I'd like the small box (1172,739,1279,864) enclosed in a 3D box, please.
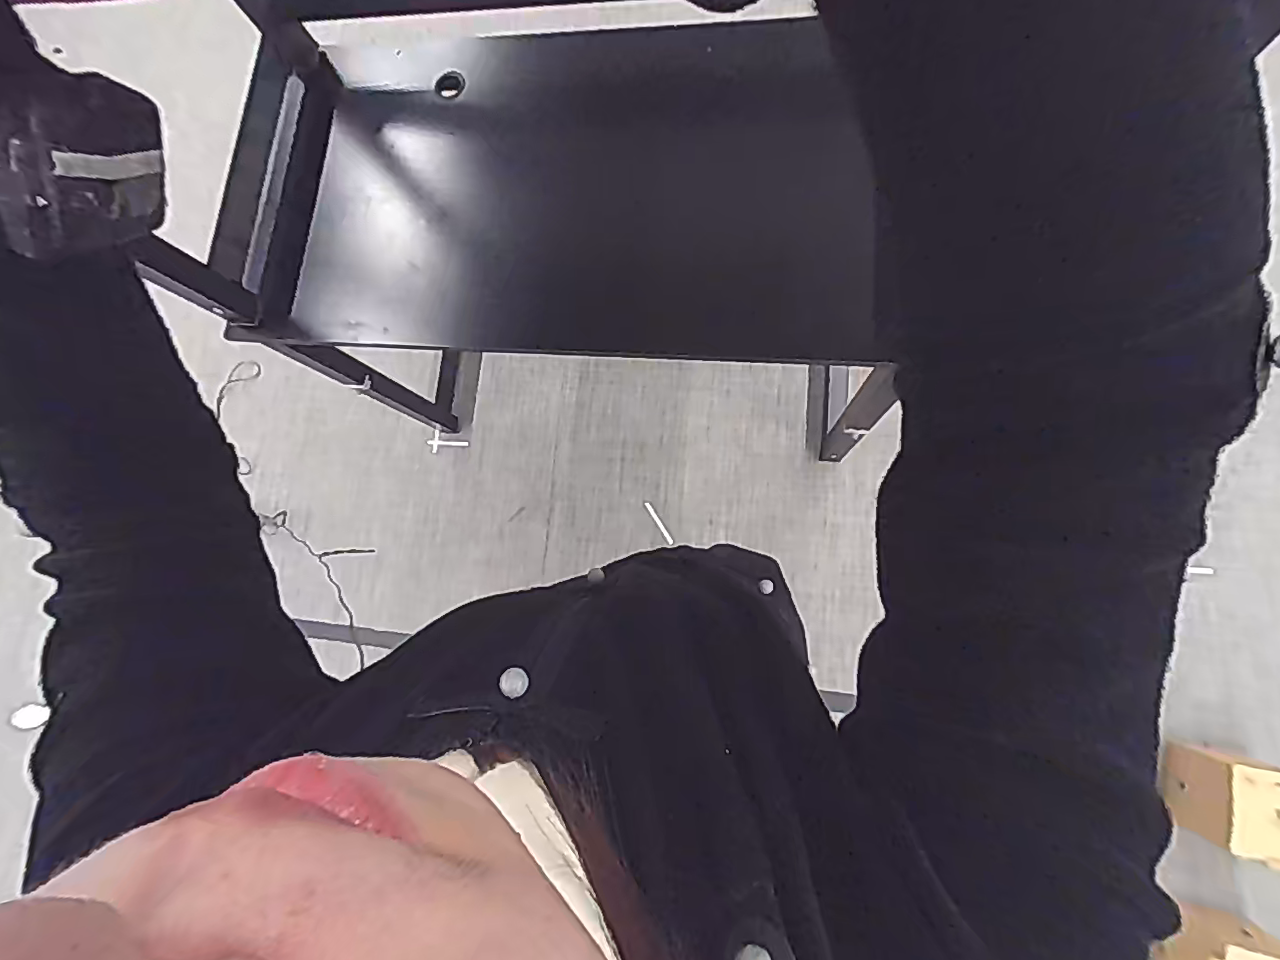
[{"bbox_3d":[1.283,0.679,1.142,0.168,0.176,0.179,9,83,10],"label":"small box"}]

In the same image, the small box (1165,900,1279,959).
[{"bbox_3d":[1.226,1.003,1.097,0.179,0.176,0.168,10,82,10],"label":"small box"}]
